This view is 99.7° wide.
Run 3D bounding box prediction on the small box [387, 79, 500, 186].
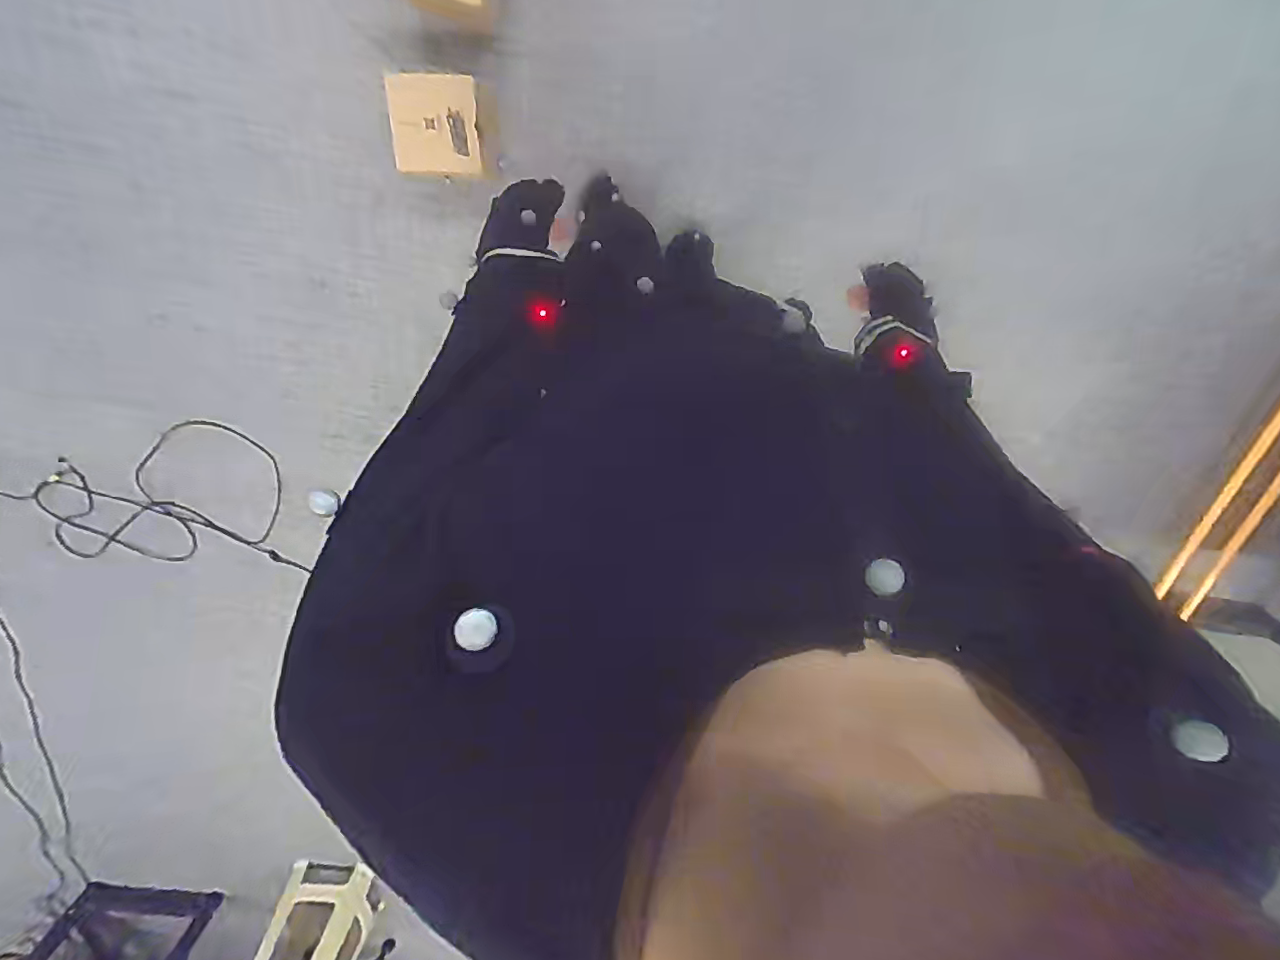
[{"bbox_3d":[-0.400,-0.720,1.137,0.179,0.176,0.168,2,114,0],"label":"small box"}]
